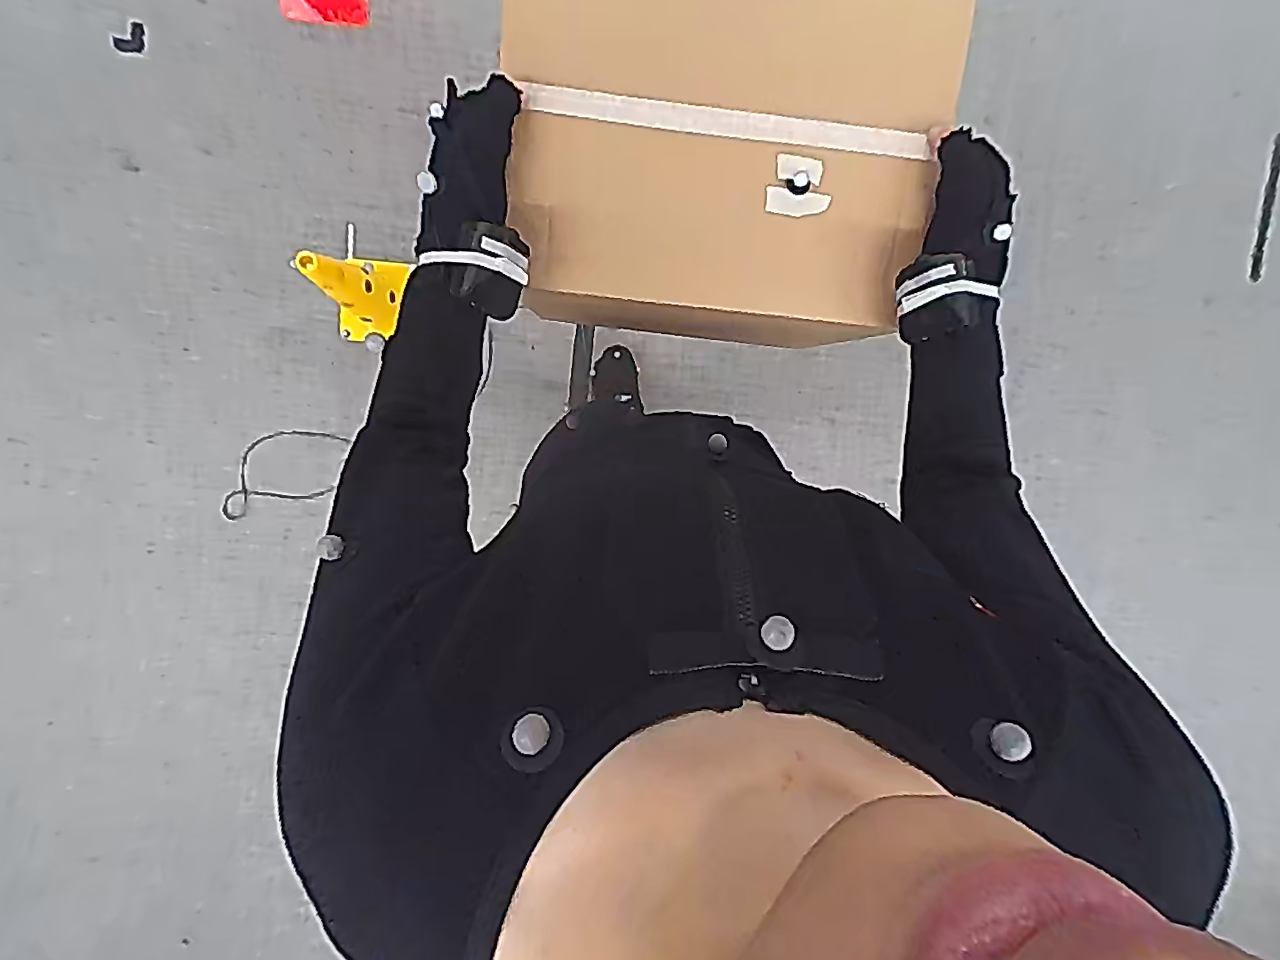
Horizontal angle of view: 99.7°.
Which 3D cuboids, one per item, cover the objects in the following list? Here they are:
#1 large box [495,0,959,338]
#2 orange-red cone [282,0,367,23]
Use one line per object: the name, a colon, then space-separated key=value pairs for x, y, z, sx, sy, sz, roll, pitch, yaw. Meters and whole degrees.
large box: x=0.065 y=-0.351 z=0.628 sx=0.408 sy=0.320 sz=0.320 roll=5 pitch=100 yaw=-4
orange-red cone: x=-0.736 y=-1.168 z=1.104 sx=0.198 sy=0.360 sz=0.199 roll=3 pitch=98 yaw=-3
